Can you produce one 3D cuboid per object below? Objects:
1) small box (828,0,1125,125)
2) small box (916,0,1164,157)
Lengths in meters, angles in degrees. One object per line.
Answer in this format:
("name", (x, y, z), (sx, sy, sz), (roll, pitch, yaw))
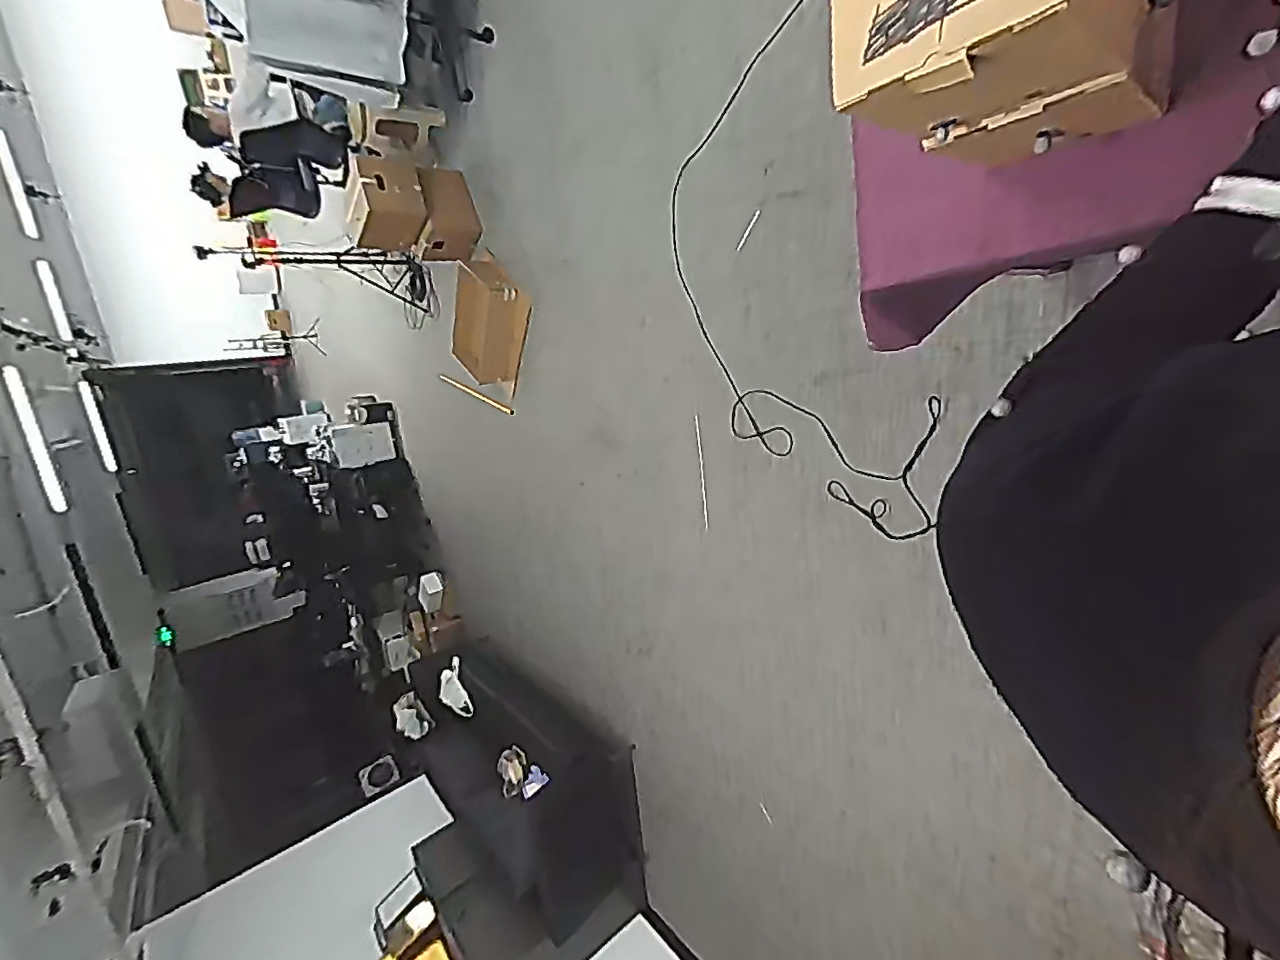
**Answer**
("small box", (0.270, -0.411, 0.432), (0.168, 0.176, 0.179), (11, 111, 49))
("small box", (0.395, -0.441, 0.536), (0.168, 0.176, 0.179), (10, 111, 49))
